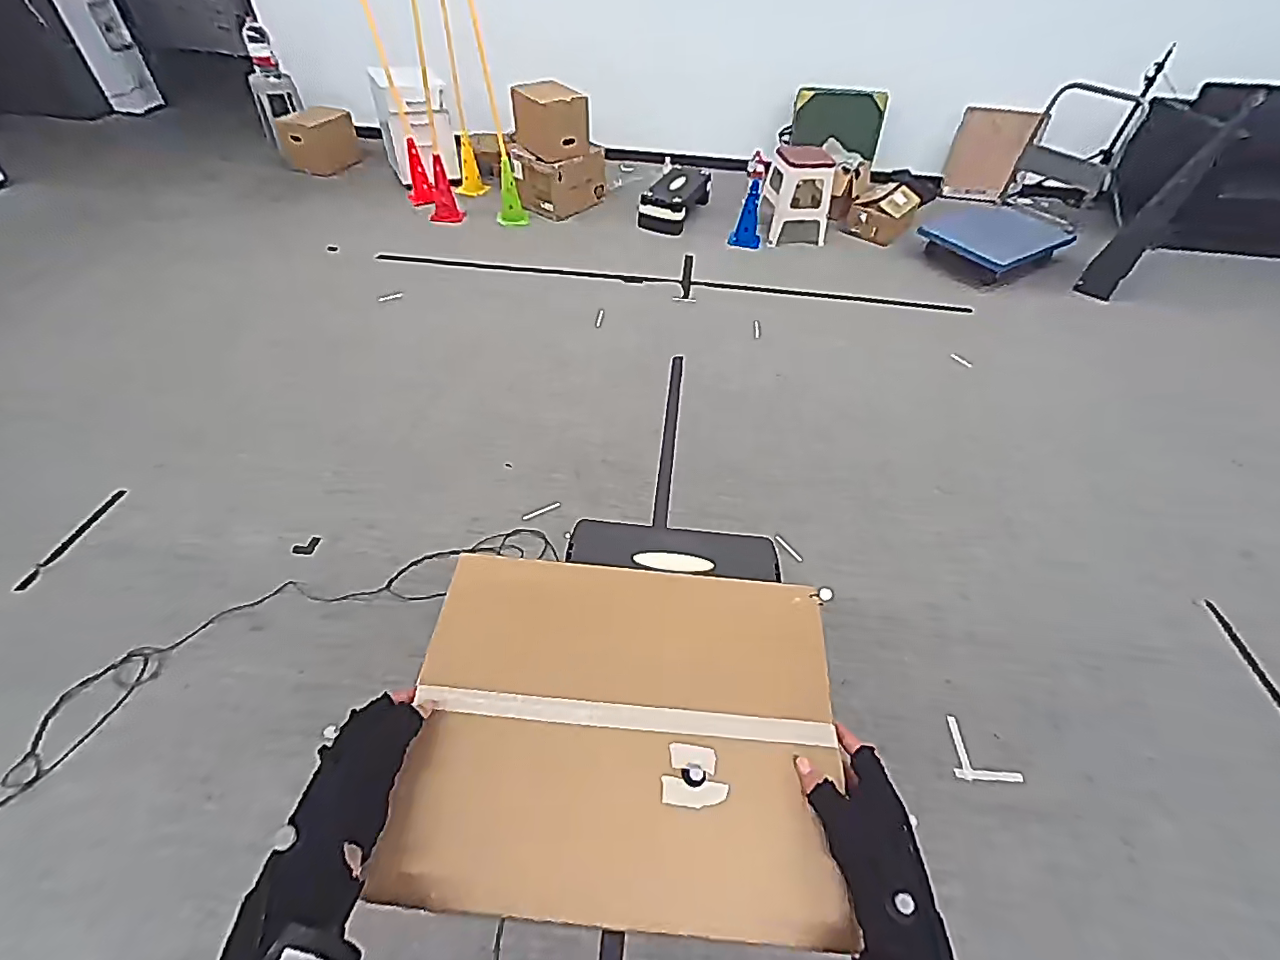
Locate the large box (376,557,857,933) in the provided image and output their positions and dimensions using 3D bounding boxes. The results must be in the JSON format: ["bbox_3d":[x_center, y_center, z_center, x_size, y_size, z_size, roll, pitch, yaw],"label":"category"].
[{"bbox_3d":[-0.018,0.315,0.645,0.408,0.320,0.320,6,54,0],"label":"large box"}]
